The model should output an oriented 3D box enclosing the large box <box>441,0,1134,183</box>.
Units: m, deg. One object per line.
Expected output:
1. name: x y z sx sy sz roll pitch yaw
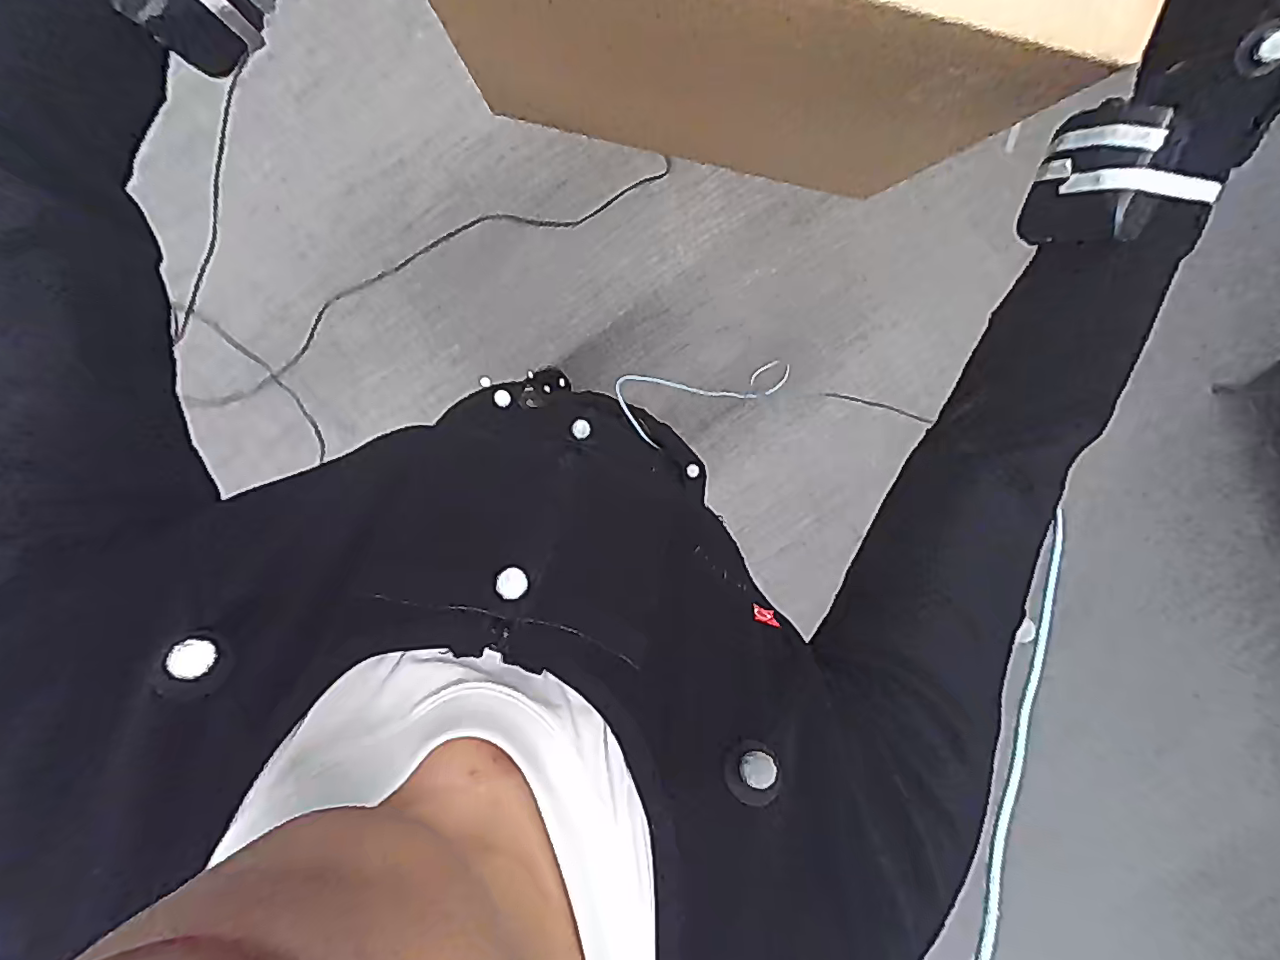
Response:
1. large box: 0.078 -0.447 0.379 0.408 0.320 0.320 8 106 -6
